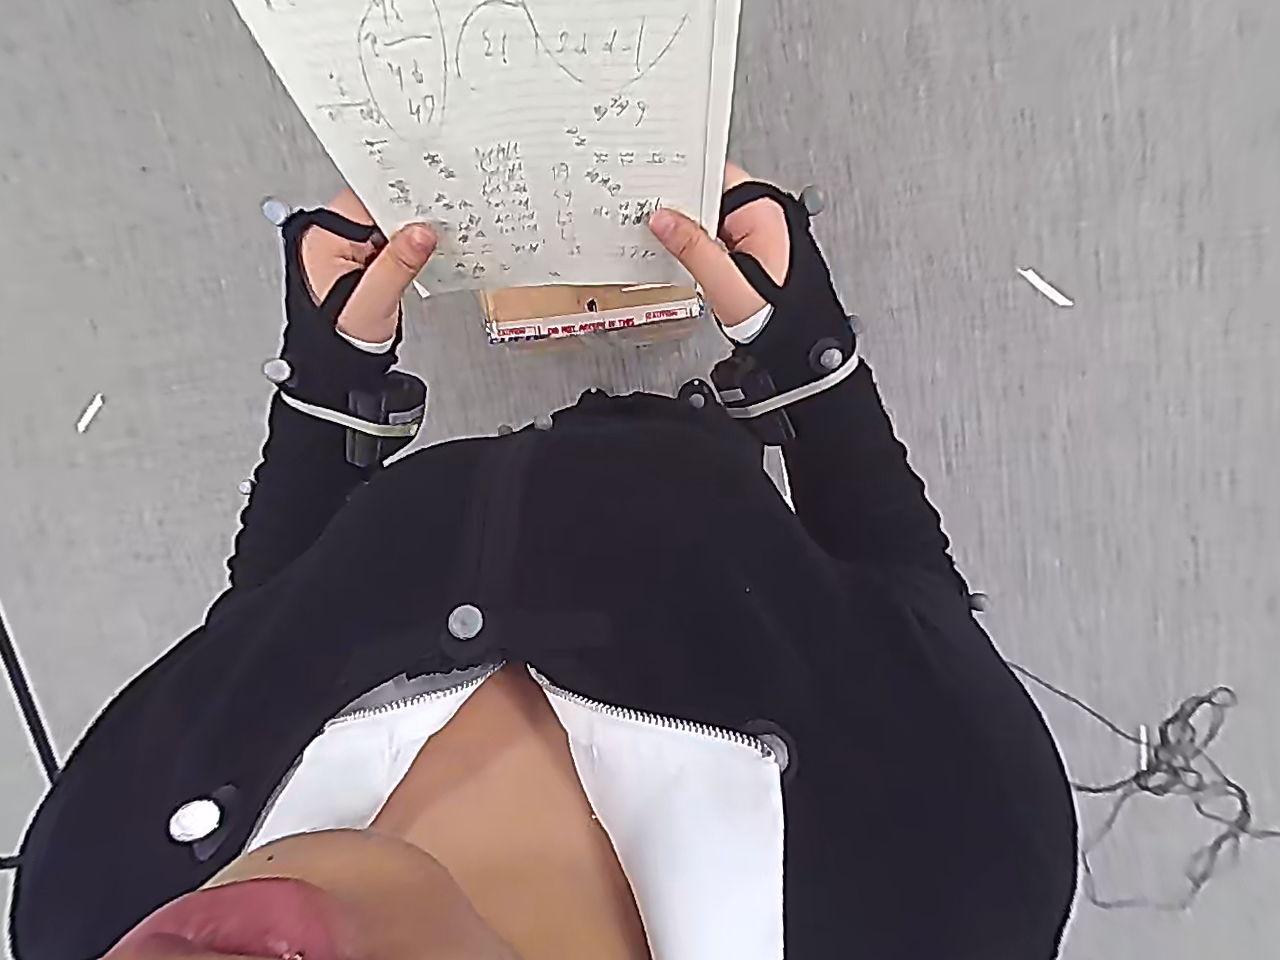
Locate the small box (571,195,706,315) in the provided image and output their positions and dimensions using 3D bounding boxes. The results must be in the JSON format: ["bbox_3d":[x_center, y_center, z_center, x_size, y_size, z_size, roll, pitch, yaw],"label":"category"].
[{"bbox_3d":[0.000,-0.368,0.861,0.179,0.176,0.168,-11,100,3],"label":"small box"}]

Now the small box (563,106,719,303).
[{"bbox_3d":[0.002,-0.339,0.699,0.168,0.176,0.179,-7,101,2],"label":"small box"}]
